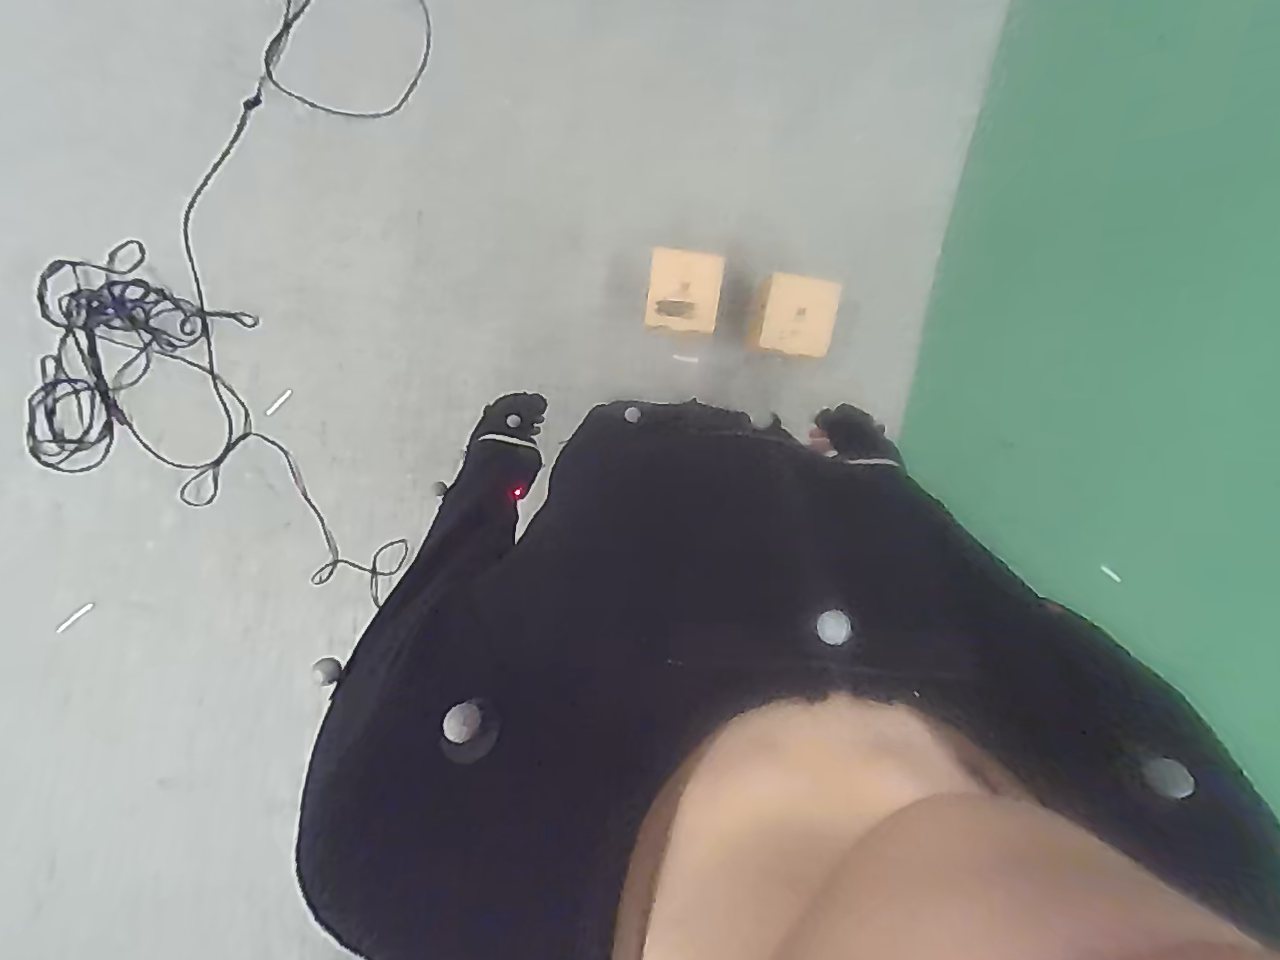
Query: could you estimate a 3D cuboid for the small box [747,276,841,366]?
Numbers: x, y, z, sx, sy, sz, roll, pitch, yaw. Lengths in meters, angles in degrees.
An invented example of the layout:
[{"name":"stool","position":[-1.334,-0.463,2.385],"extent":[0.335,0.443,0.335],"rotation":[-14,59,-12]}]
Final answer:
[{"name":"small box","position":[0.374,-0.388,1.349],"extent":[0.168,0.176,0.179],"rotation":[10,99,-1]}]
